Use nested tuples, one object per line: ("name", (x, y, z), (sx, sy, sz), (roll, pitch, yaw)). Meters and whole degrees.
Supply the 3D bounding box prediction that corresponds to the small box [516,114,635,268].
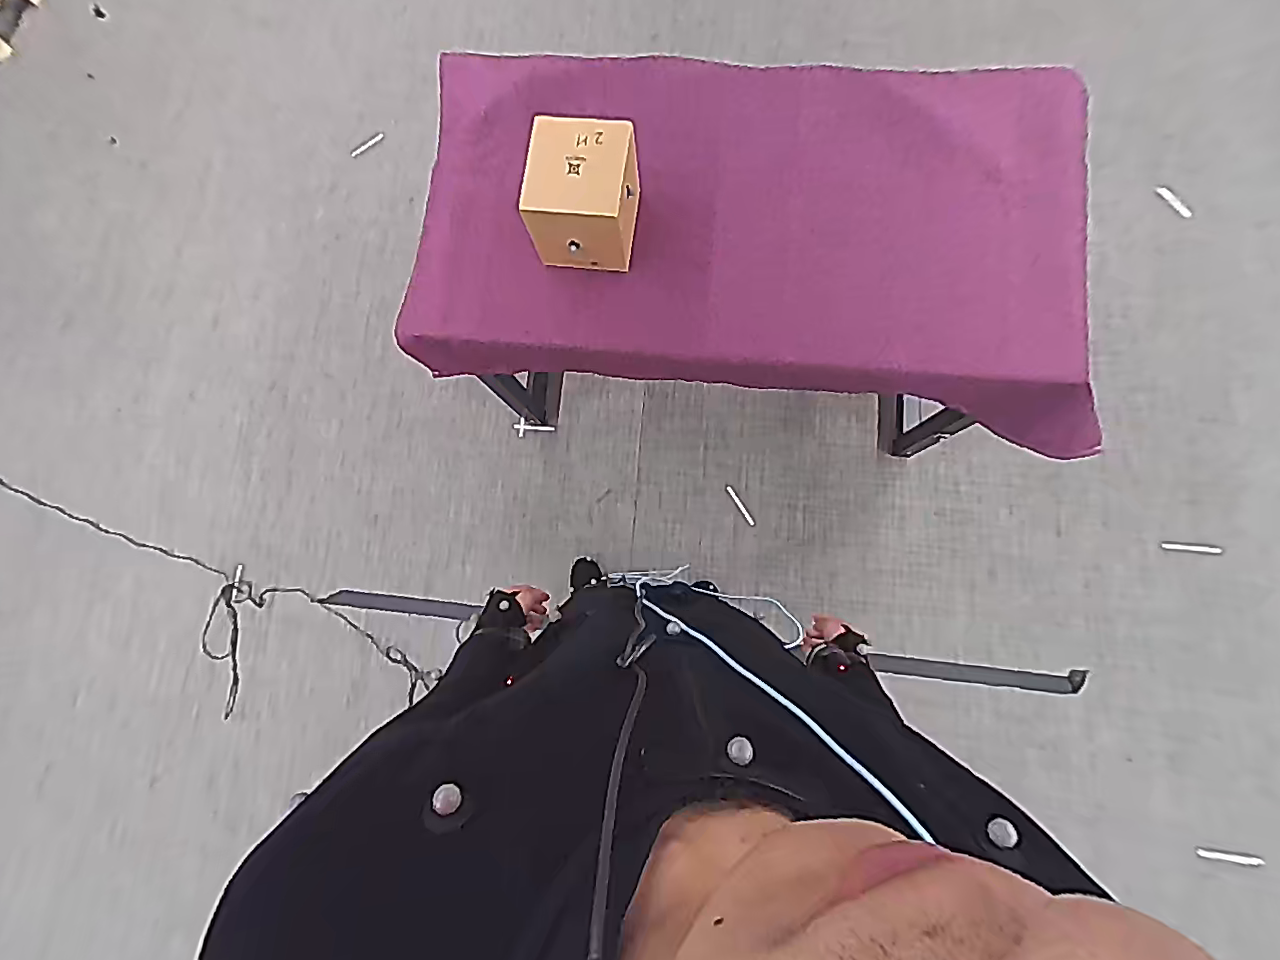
("small box", (-0.104, -0.500, 0.956), (0.168, 0.176, 0.179), (7, 82, 5))
